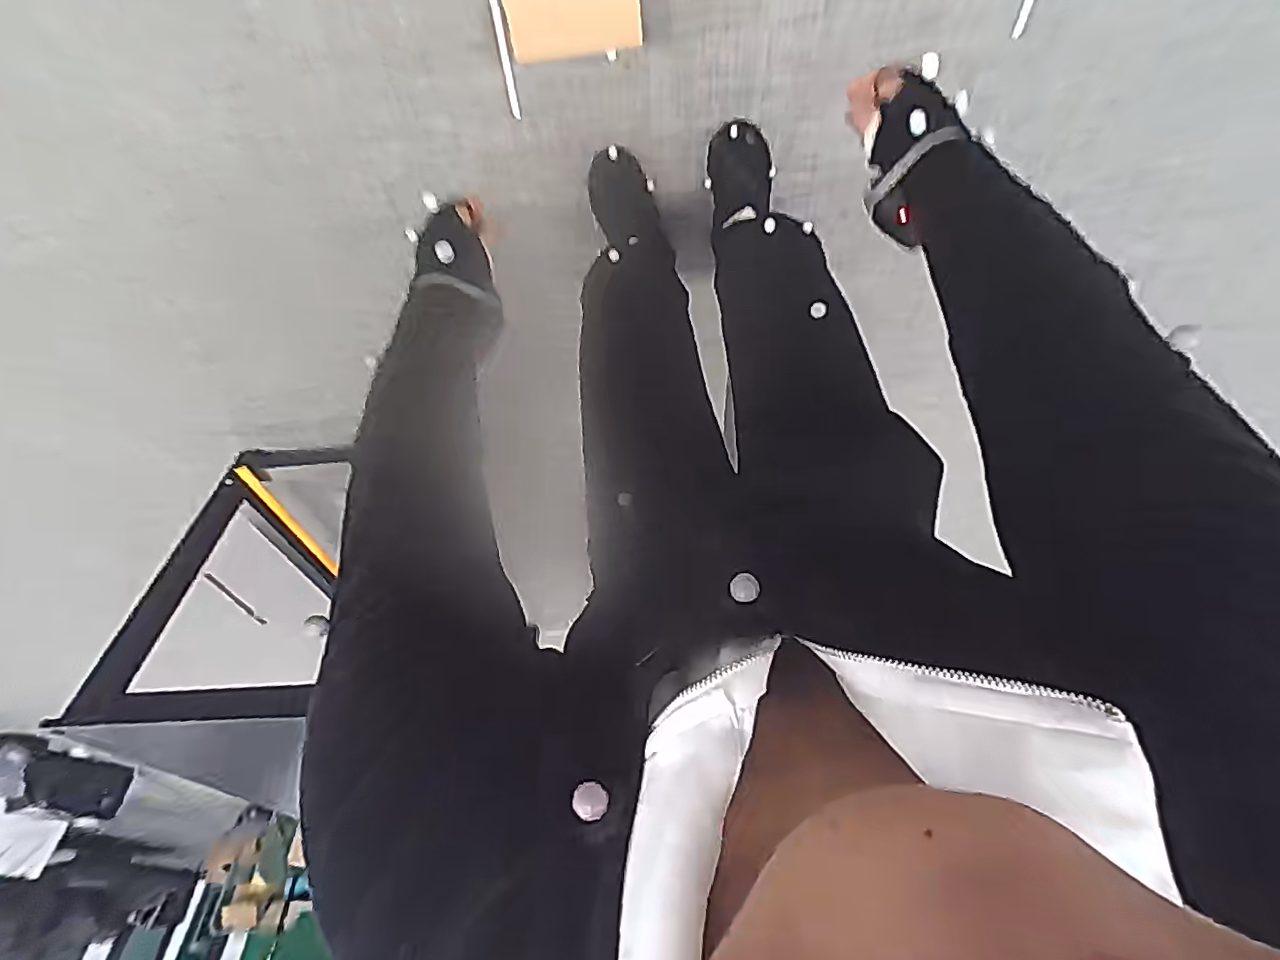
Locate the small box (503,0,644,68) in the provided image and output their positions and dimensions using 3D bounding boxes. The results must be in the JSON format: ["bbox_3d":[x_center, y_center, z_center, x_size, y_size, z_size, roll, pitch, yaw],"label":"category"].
[{"bbox_3d":[-0.090,-0.680,0.724,0.179,0.176,0.168,-4,138,3],"label":"small box"}]
